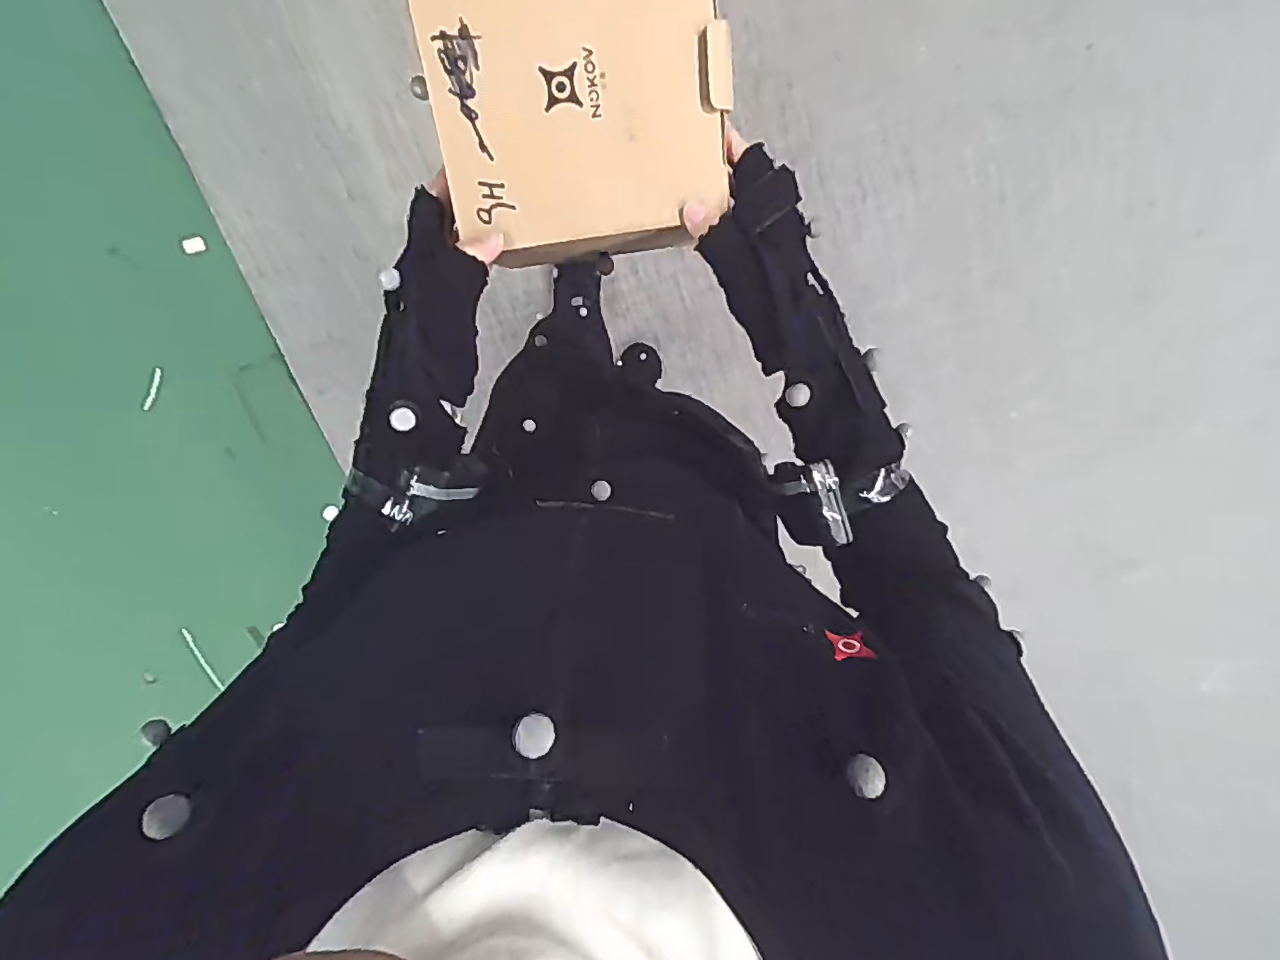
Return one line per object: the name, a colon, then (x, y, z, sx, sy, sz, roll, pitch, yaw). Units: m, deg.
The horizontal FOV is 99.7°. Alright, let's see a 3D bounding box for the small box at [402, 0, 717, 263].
small box: (-0.048, -0.260, 0.398, 0.179, 0.176, 0.168, -6, 108, 0)
